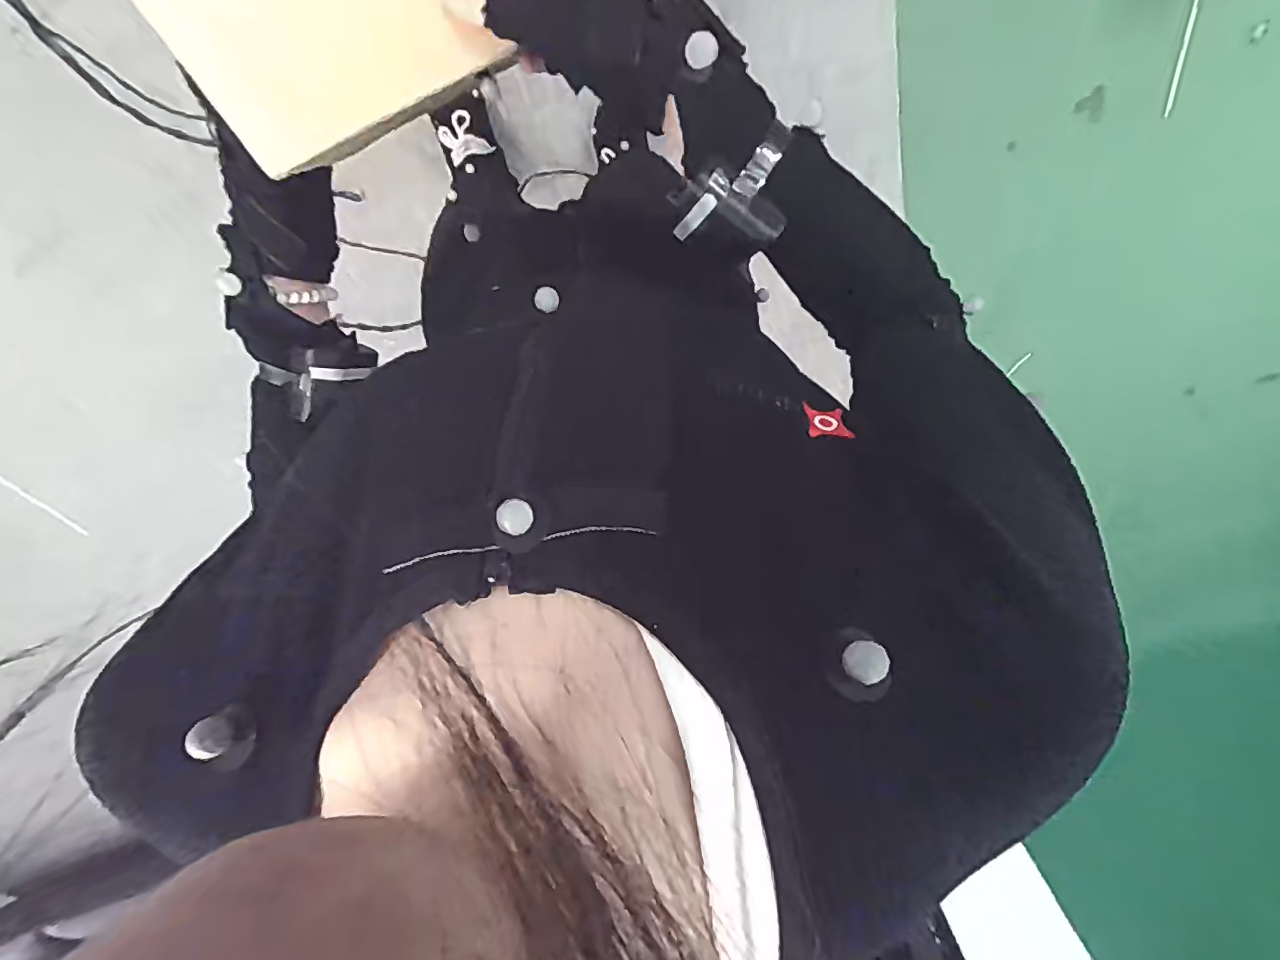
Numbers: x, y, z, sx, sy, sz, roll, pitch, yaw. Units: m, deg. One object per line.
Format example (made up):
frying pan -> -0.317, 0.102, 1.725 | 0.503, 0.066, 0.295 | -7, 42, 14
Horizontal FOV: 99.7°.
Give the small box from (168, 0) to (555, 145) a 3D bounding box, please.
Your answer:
small box -> -0.164, -0.314, 0.303 | 0.179, 0.176, 0.168 | -26, 126, 3
